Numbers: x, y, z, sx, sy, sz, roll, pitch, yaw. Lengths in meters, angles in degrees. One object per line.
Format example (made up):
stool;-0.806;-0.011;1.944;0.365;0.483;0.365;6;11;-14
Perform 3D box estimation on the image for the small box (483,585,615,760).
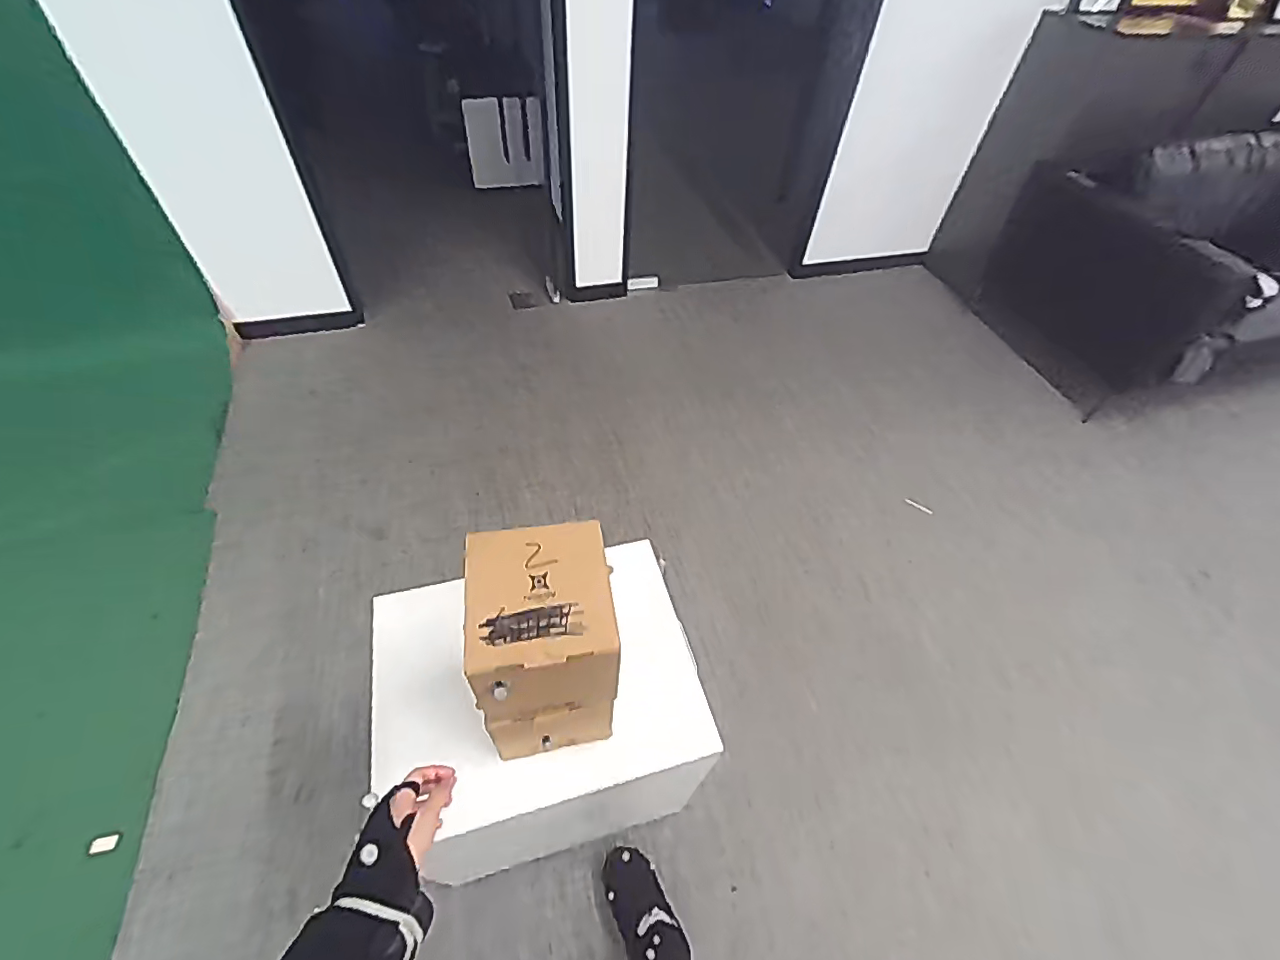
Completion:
small box;-0.134;0.281;0.792;0.168;0.176;0.179;-8;50;-11
